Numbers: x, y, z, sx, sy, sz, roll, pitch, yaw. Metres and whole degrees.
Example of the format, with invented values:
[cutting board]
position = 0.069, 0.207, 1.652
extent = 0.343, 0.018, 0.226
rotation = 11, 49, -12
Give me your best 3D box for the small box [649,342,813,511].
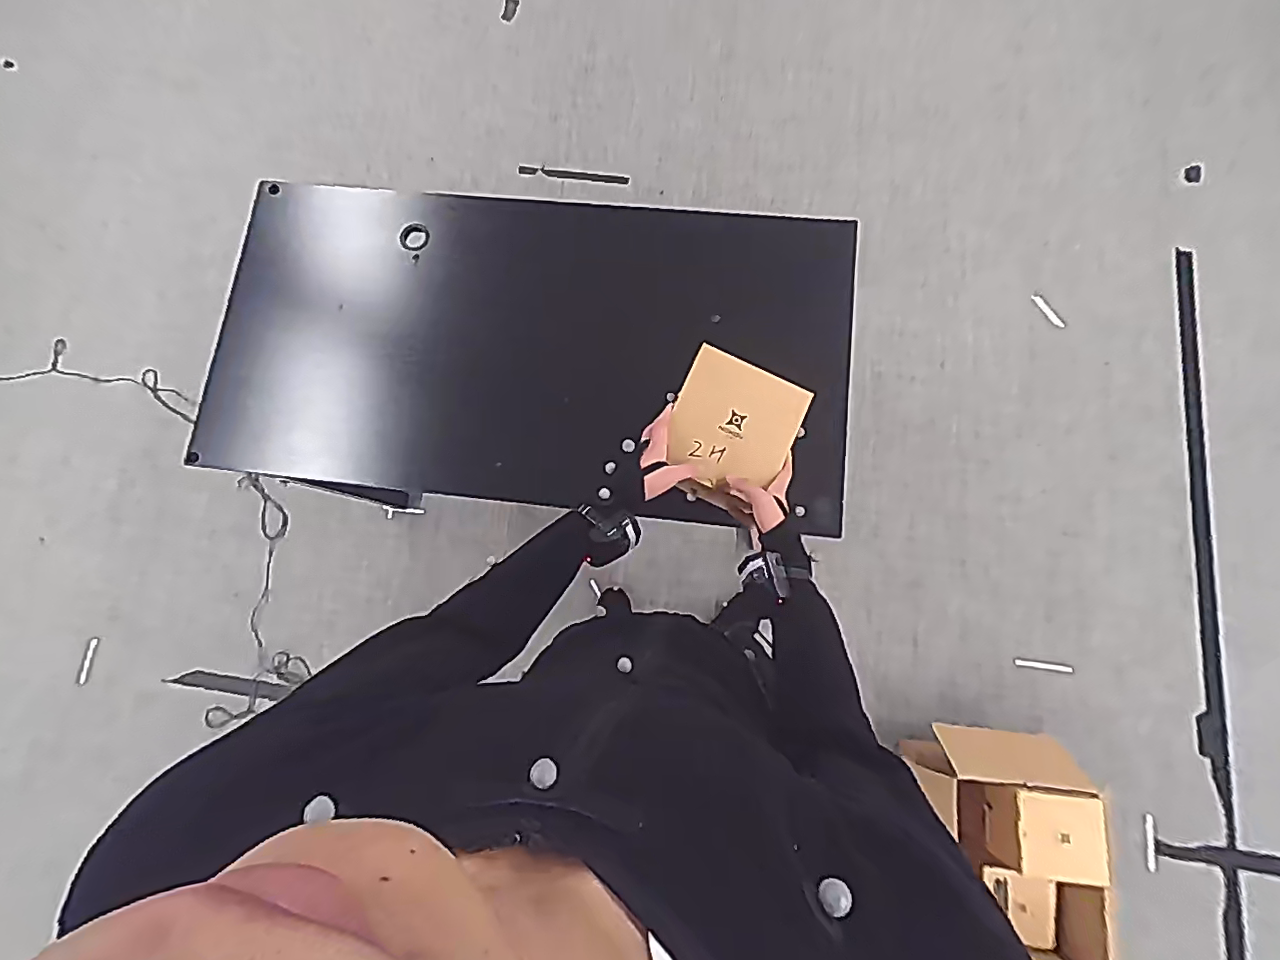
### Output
[small box]
position = 0.118, -0.067, 0.788
extent = 0.168, 0.176, 0.179
rotation = 25, 85, 1
